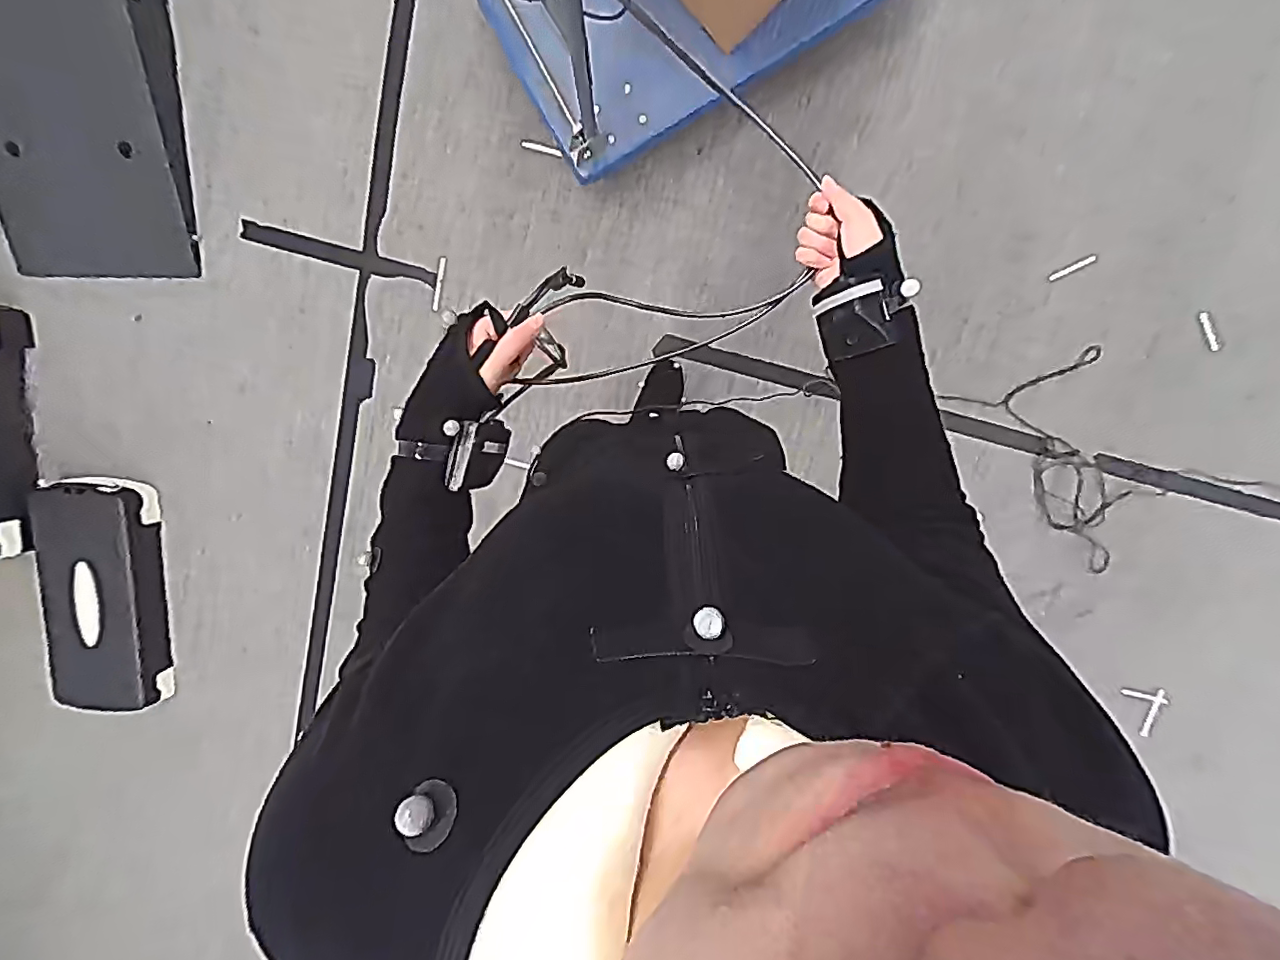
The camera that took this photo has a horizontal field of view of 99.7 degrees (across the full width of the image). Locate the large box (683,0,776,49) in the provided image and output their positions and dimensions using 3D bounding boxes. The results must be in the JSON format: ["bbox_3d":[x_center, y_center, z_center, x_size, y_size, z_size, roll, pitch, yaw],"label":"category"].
[{"bbox_3d":[0.153,-1.126,0.963,0.320,0.320,0.408,-44,97,9],"label":"large box"}]
